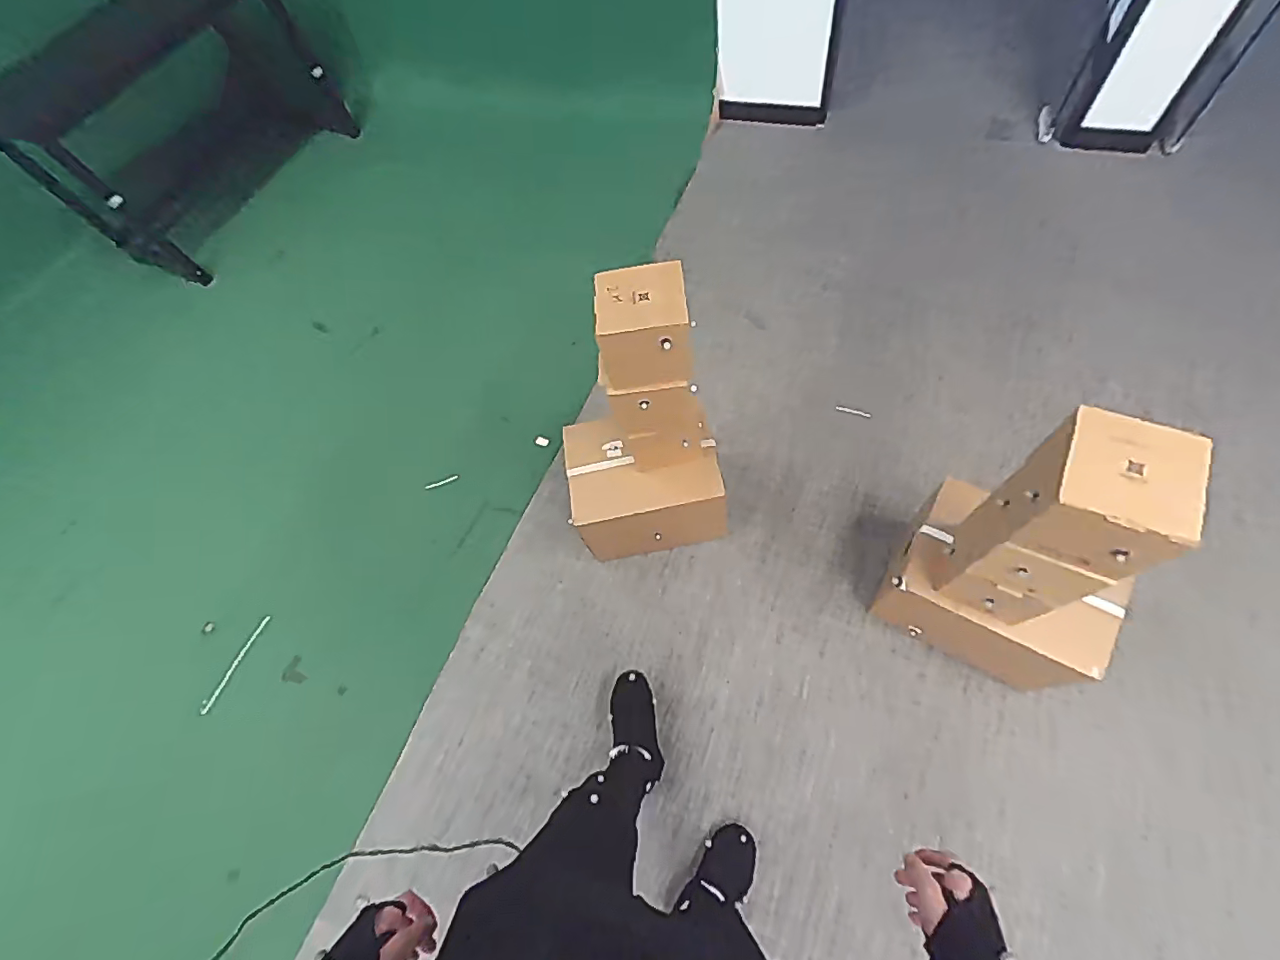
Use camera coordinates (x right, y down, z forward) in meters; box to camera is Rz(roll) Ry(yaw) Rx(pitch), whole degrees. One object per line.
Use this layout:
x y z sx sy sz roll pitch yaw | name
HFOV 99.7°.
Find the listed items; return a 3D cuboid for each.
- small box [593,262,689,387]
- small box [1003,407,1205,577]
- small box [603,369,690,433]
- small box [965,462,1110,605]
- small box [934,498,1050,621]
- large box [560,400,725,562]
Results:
0.007 -0.307 1.092 0.179 0.176 0.168 -6 62 6 | small box
0.691 0.026 0.824 0.168 0.176 0.179 22 69 18 | small box
0.017 -0.220 1.234 0.179 0.176 0.168 -6 63 6 | small box
0.713 0.102 0.967 0.168 0.176 0.179 23 69 19 | small box
0.734 0.171 1.113 0.168 0.176 0.179 24 71 19 | small box
0.014 0.017 1.579 0.408 0.320 0.320 -13 61 4 | large box
